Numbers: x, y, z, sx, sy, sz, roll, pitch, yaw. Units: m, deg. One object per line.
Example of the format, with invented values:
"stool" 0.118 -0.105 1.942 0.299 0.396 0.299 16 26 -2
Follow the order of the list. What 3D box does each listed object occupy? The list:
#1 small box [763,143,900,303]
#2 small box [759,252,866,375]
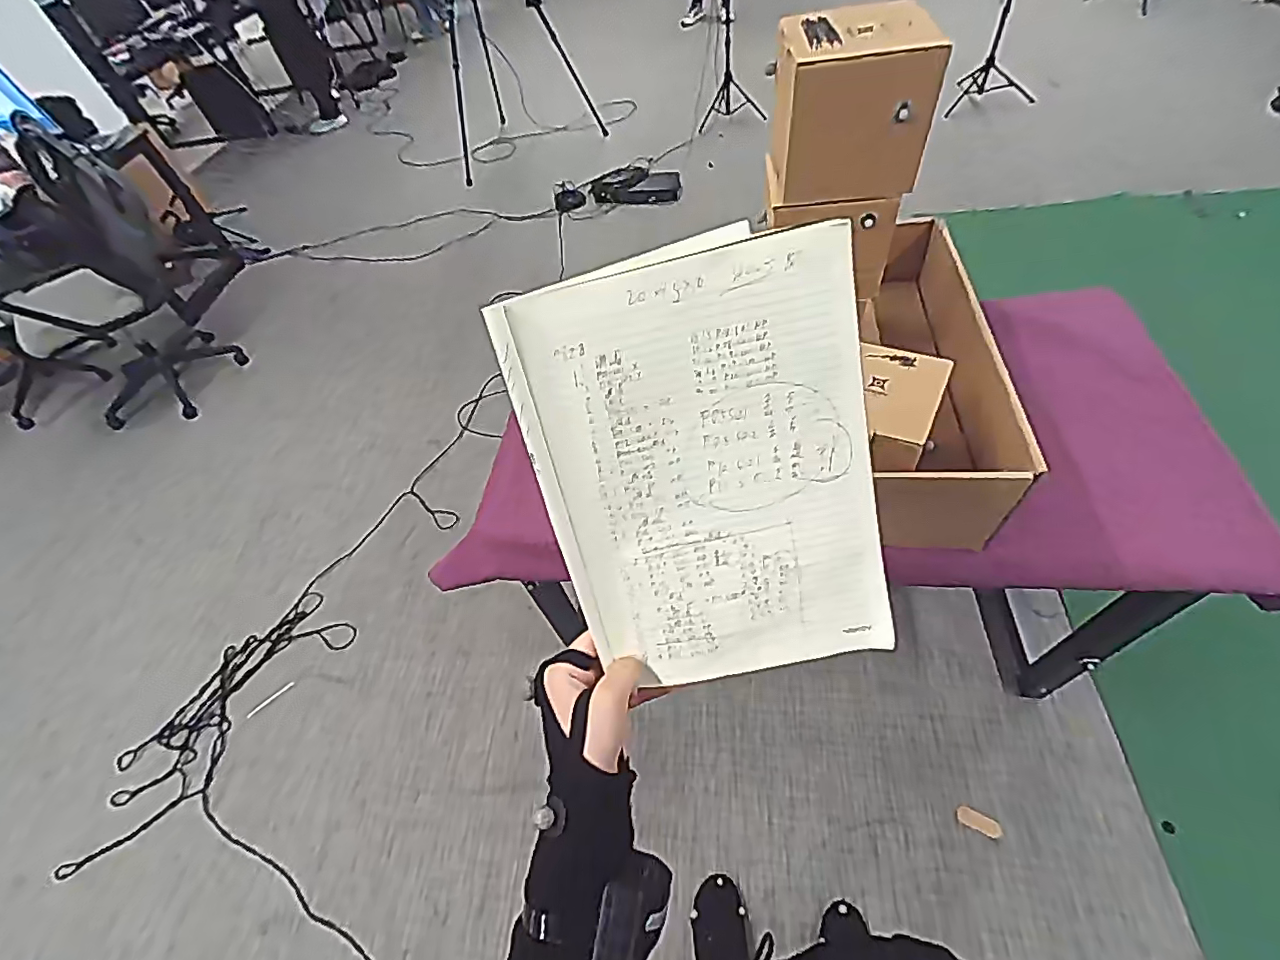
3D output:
"small box" 0.287 -0.399 0.856 0.179 0.176 0.168 -1 54 9
"small box" 0.305 -0.307 0.988 0.168 0.176 0.179 1 55 11
